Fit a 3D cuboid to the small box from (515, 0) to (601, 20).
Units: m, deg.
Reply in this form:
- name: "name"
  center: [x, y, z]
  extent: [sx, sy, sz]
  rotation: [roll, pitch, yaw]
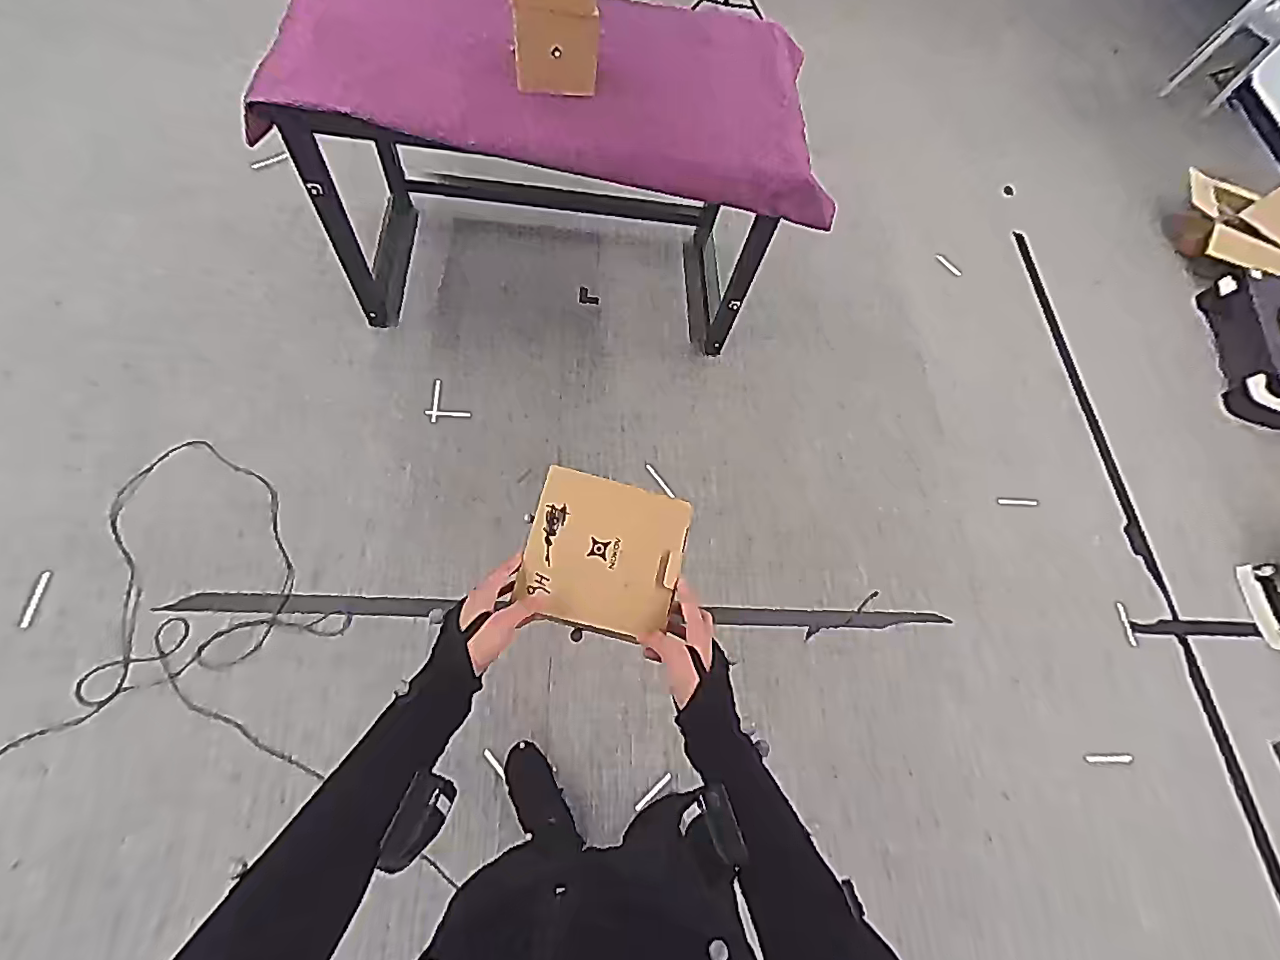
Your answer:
- name: "small box"
  center: [-0.162, -1.054, 1.066]
  extent: [0.179, 0.176, 0.168]
  rotation: [1, 66, -9]

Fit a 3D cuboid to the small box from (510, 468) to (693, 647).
- name: "small box"
  center: [-0.053, 0.105, 0.682]
  extent: [0.179, 0.176, 0.168]
  rotation: [17, 71, -6]
